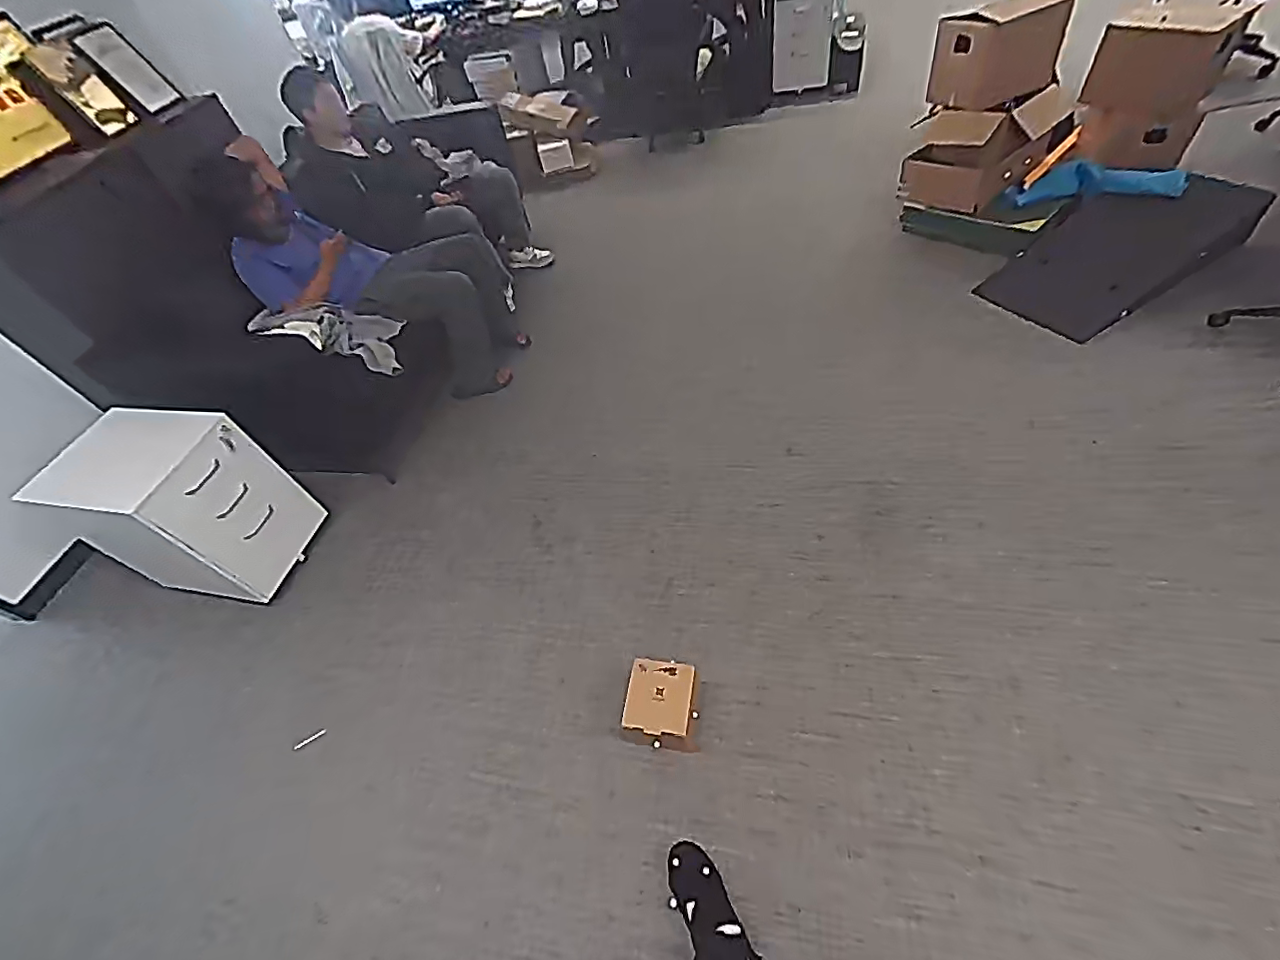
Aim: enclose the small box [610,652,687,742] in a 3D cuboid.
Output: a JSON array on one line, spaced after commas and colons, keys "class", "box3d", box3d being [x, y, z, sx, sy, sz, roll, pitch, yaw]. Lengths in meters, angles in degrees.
[{"class": "small box", "box3d": [0.031, 0.584, 1.448, 0.168, 0.176, 0.179, 1, 52, 13]}]
